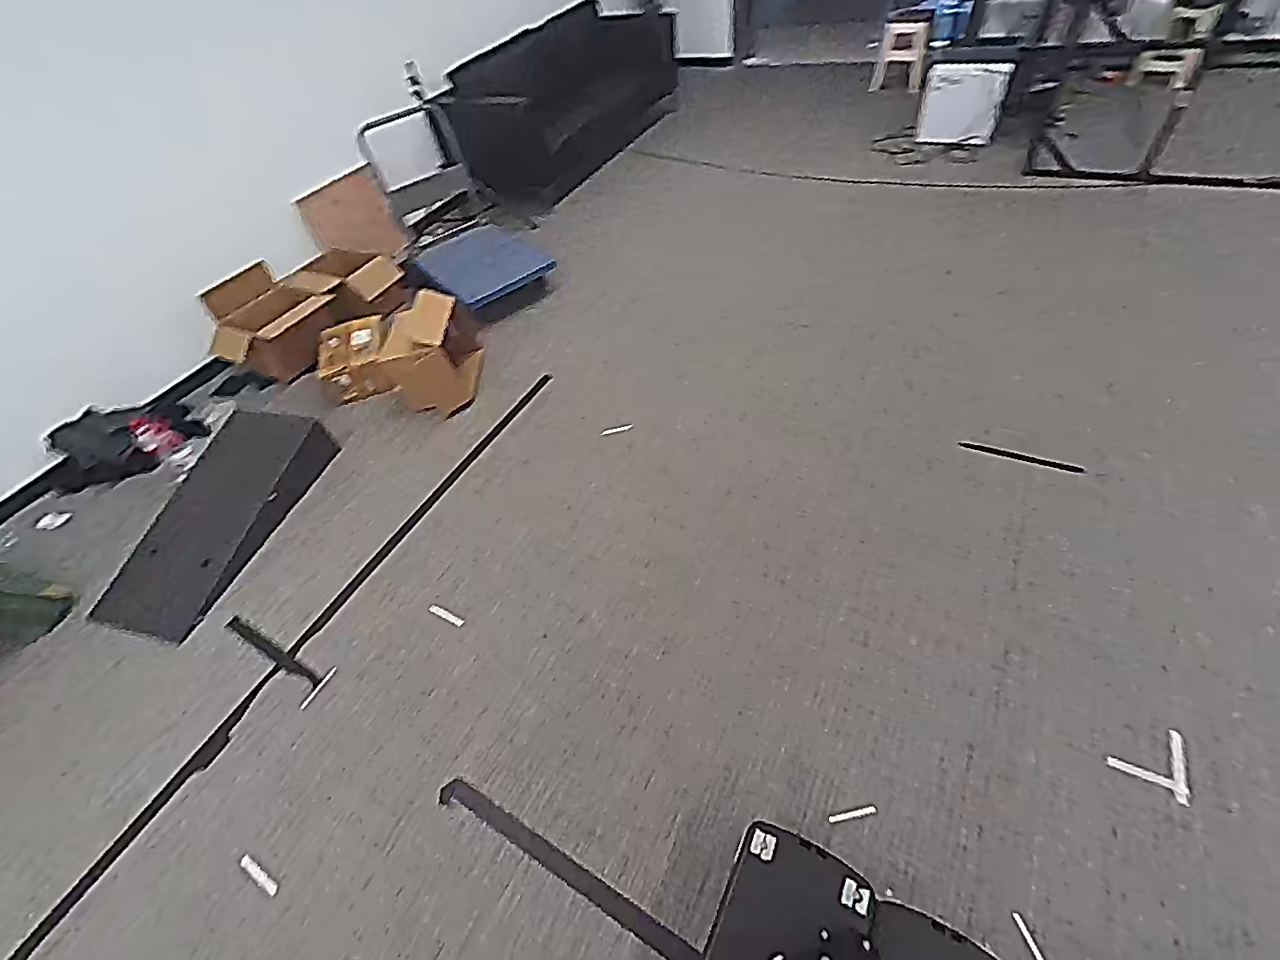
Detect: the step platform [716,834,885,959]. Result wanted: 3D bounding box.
[{"bbox_3d":[0.251,1.097,1.045,0.286,0.204,0.684,17,54,23],"label":"step platform"}]
